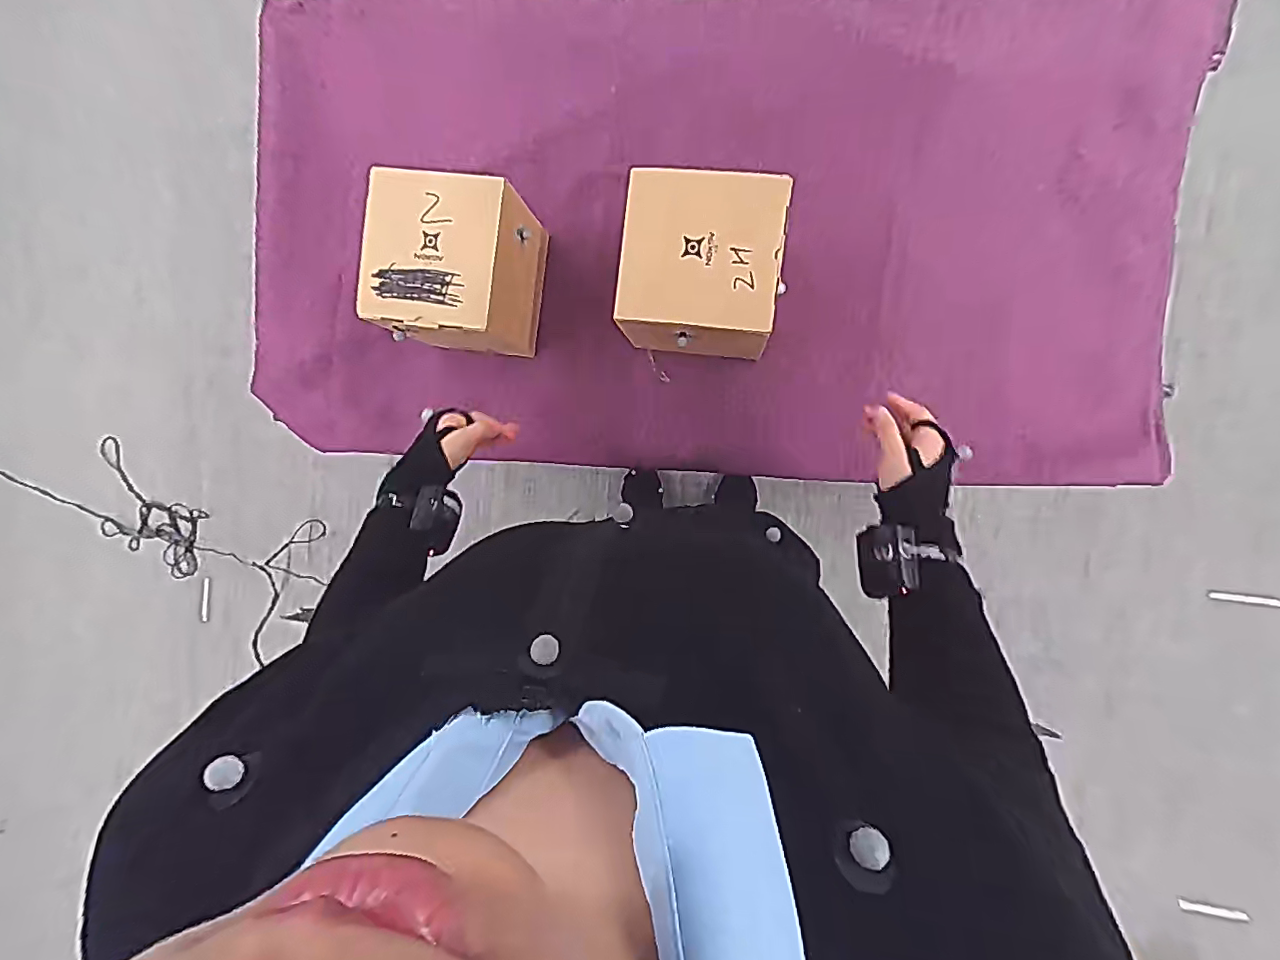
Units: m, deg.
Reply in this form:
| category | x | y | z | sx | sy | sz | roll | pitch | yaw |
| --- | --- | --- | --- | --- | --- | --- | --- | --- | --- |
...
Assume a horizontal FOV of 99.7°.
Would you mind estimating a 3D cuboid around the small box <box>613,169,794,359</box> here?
| category | x | y | z | sx | sy | sz | roll | pitch | yaw |
| --- | --- | --- | --- | --- | --- | --- | --- | --- | --- |
| small box | 0.076 | -0.249 | 0.659 | 0.179 | 0.176 | 0.168 | 8 | 94 | 7 |
